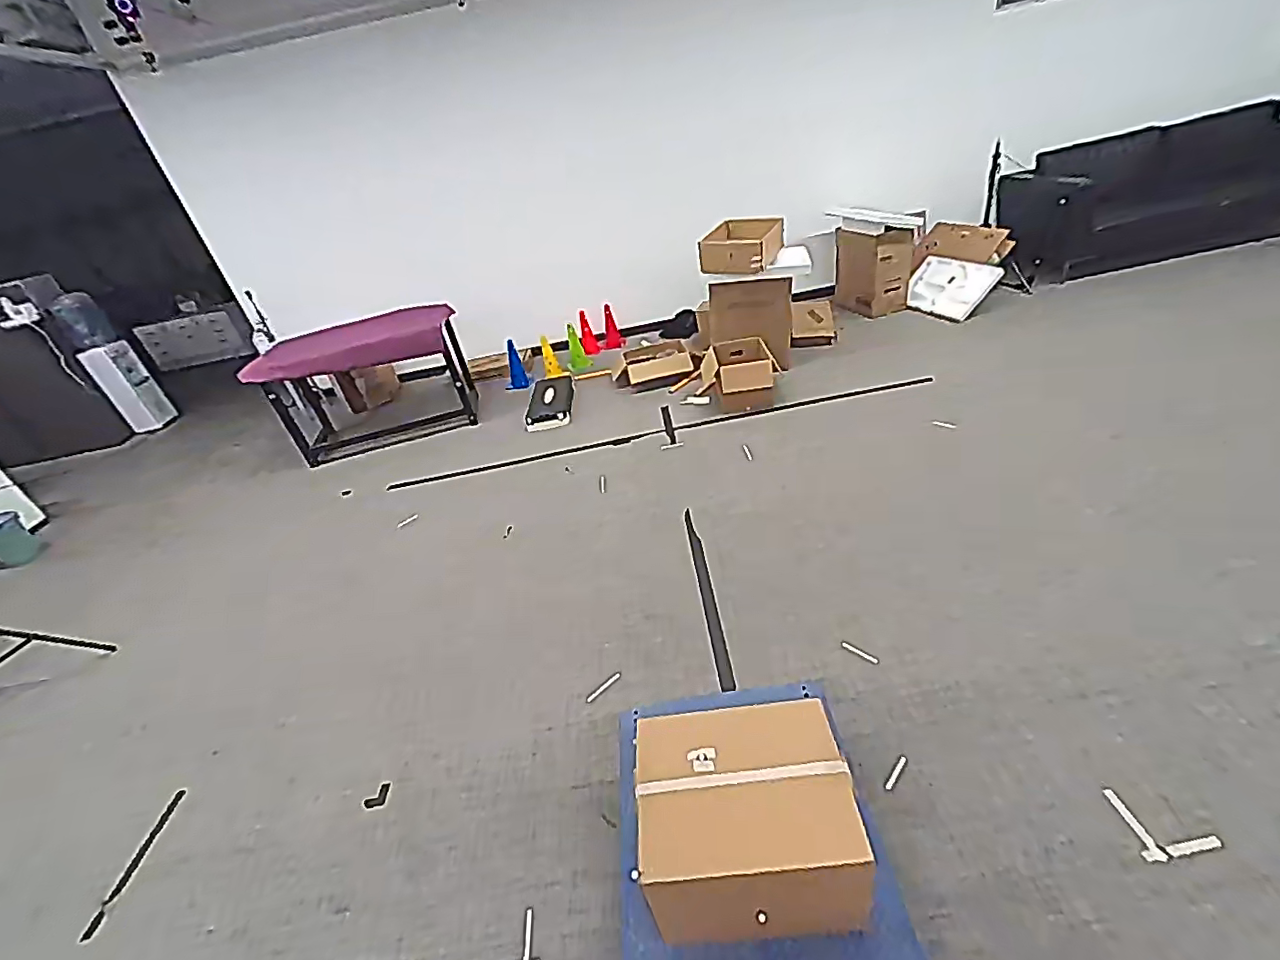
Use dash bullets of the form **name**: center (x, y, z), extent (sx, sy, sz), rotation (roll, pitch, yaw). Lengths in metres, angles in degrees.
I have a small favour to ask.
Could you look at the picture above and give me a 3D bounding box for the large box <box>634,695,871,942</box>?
- **large box**: center (0.216, 0.696, 1.117), extent (0.408, 0.320, 0.320), rotation (-10, 32, 5)
